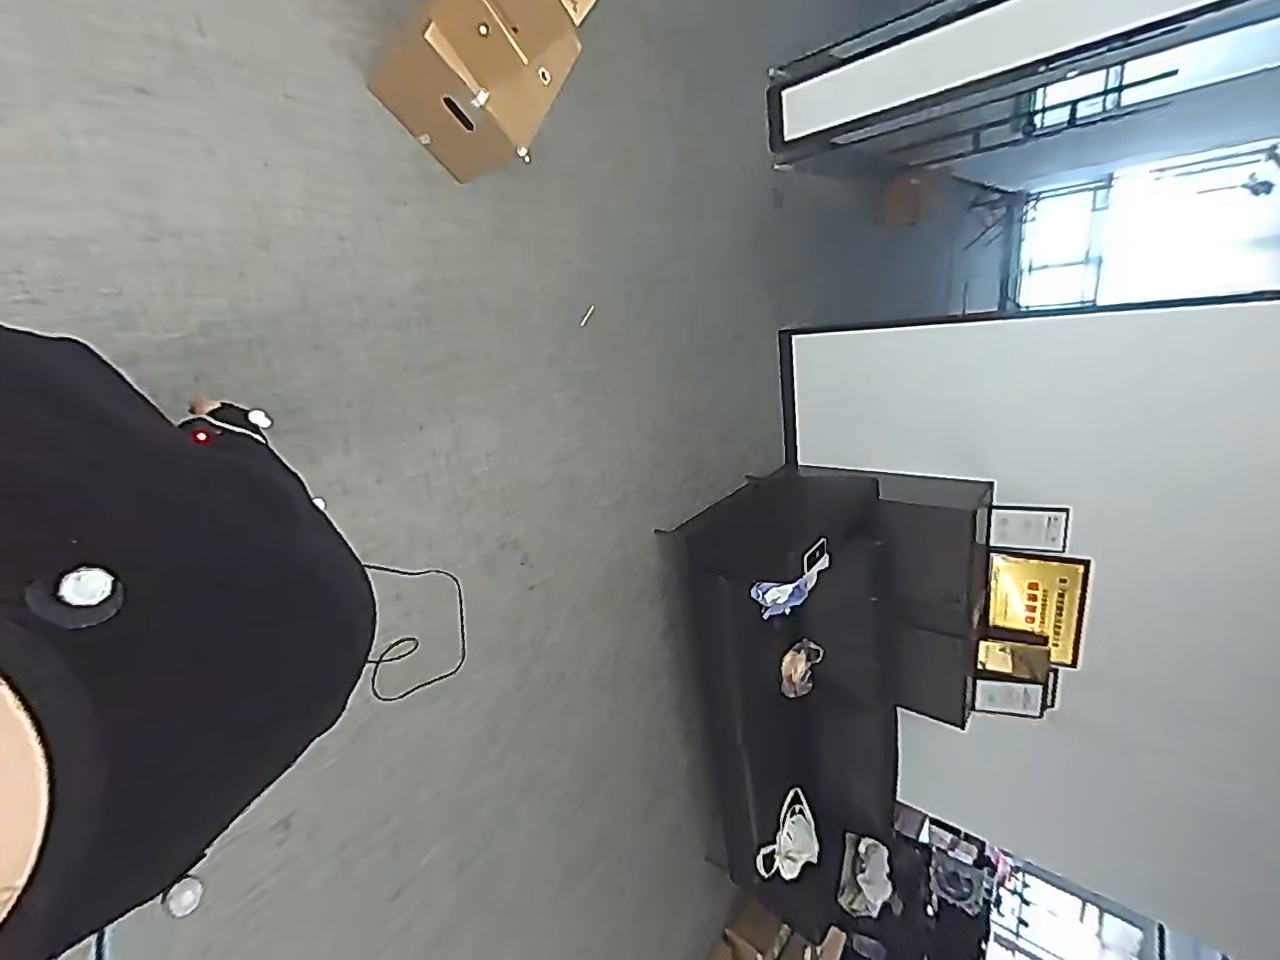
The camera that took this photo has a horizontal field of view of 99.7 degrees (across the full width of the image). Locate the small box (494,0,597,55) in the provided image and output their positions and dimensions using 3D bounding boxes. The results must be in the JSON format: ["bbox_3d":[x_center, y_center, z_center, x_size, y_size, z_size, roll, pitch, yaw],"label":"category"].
[{"bbox_3d":[-0.188,-1.030,1.103,0.168,0.176,0.179,41,66,-40],"label":"small box"}]

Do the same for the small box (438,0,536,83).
[{"bbox_3d":[-0.311,-1.036,1.212,0.179,0.176,0.168,46,64,-39],"label":"small box"}]
